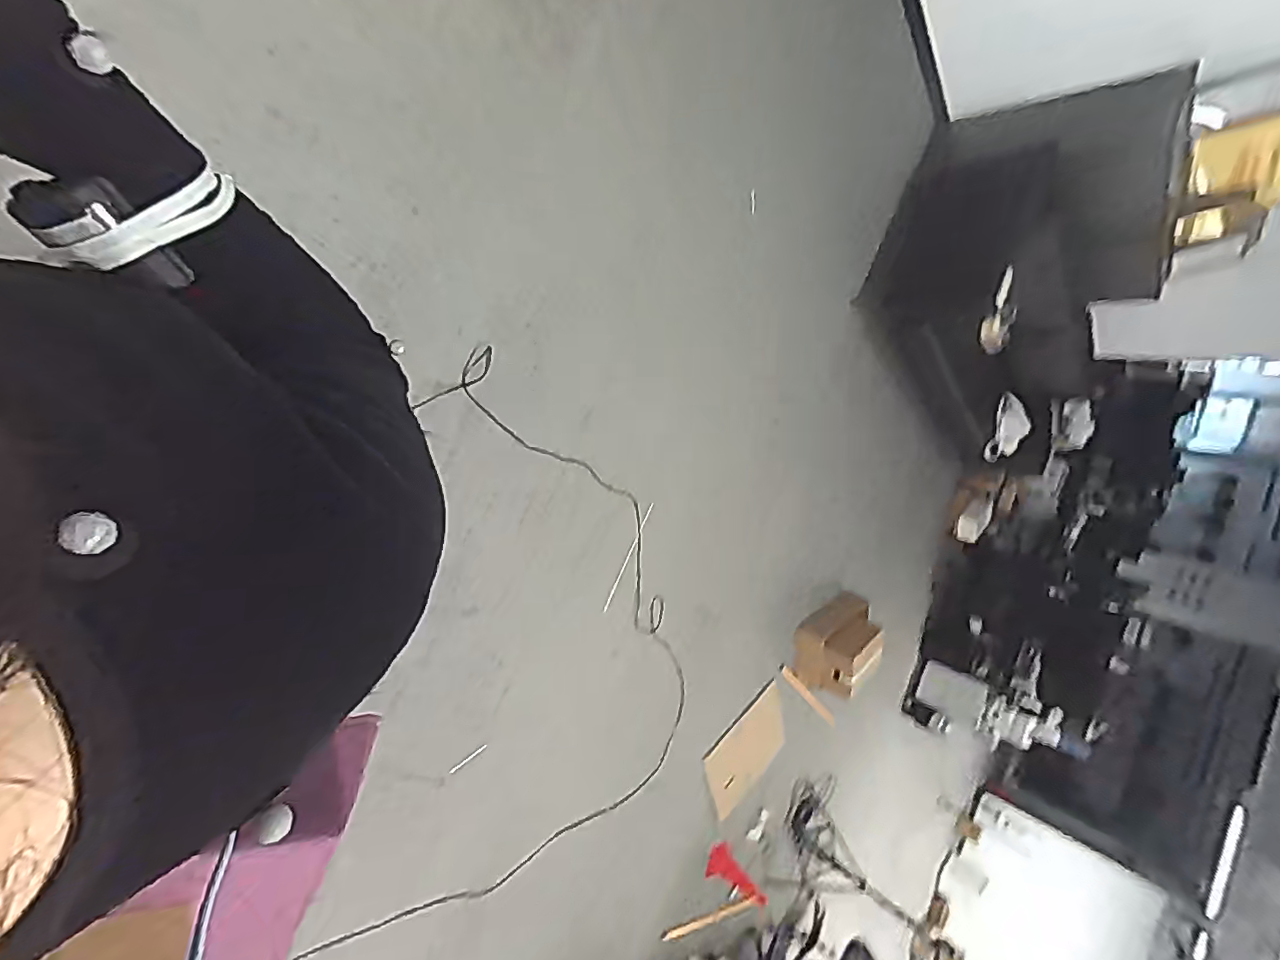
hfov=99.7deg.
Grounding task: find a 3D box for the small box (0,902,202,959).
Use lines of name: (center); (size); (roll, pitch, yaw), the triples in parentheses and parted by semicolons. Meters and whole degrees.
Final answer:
small box: (-0.620, 0.614, 0.598); (0.179, 0.176, 0.168); (32, 80, -44)
